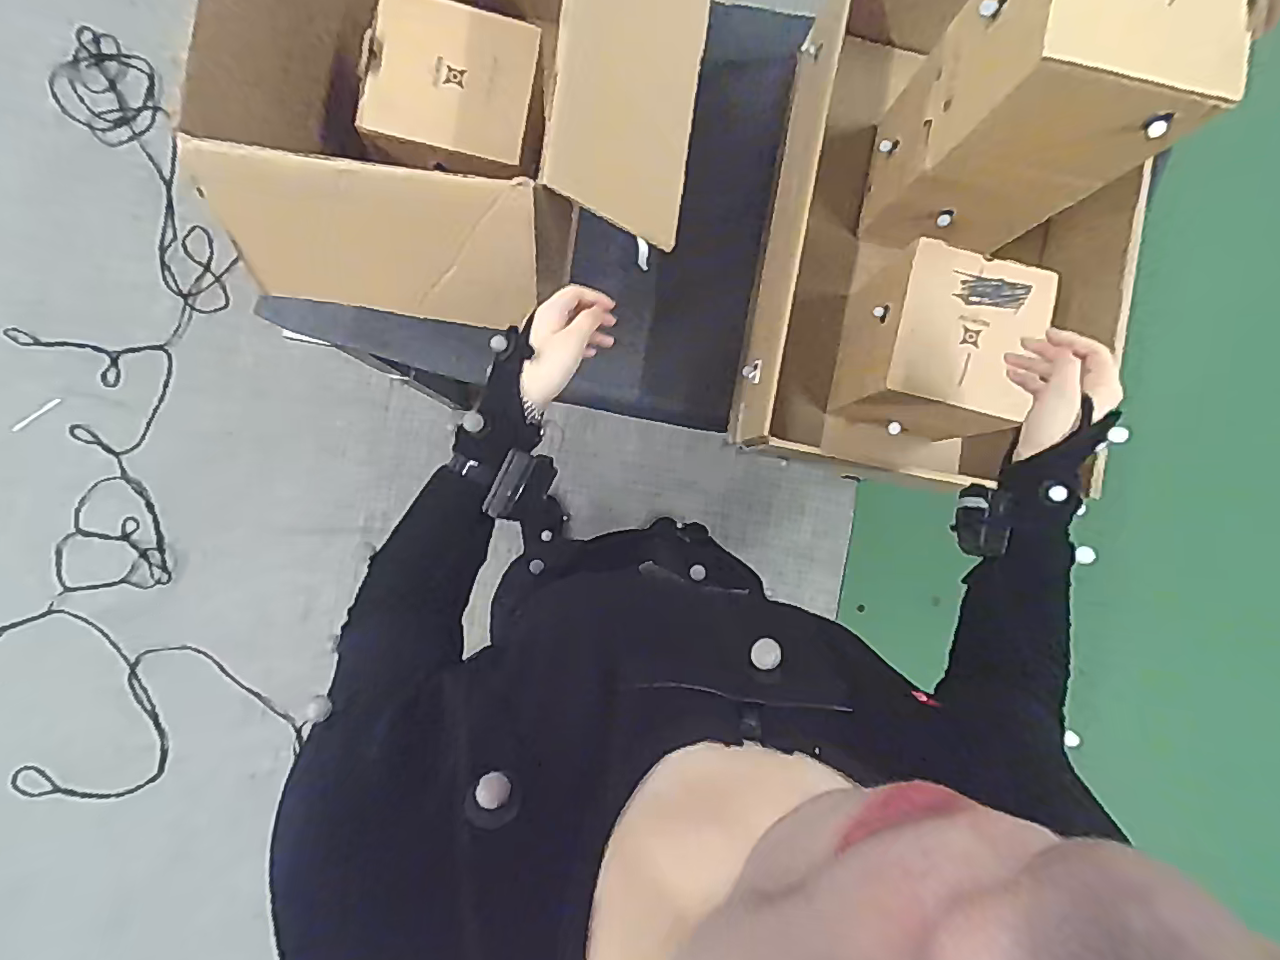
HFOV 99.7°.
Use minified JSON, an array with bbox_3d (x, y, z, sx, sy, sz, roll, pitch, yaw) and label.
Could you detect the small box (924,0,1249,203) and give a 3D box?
[{"bbox_3d":[0.408,-0.396,0.519,0.179,0.176,0.168,10,90,-3],"label":"small box"}]
